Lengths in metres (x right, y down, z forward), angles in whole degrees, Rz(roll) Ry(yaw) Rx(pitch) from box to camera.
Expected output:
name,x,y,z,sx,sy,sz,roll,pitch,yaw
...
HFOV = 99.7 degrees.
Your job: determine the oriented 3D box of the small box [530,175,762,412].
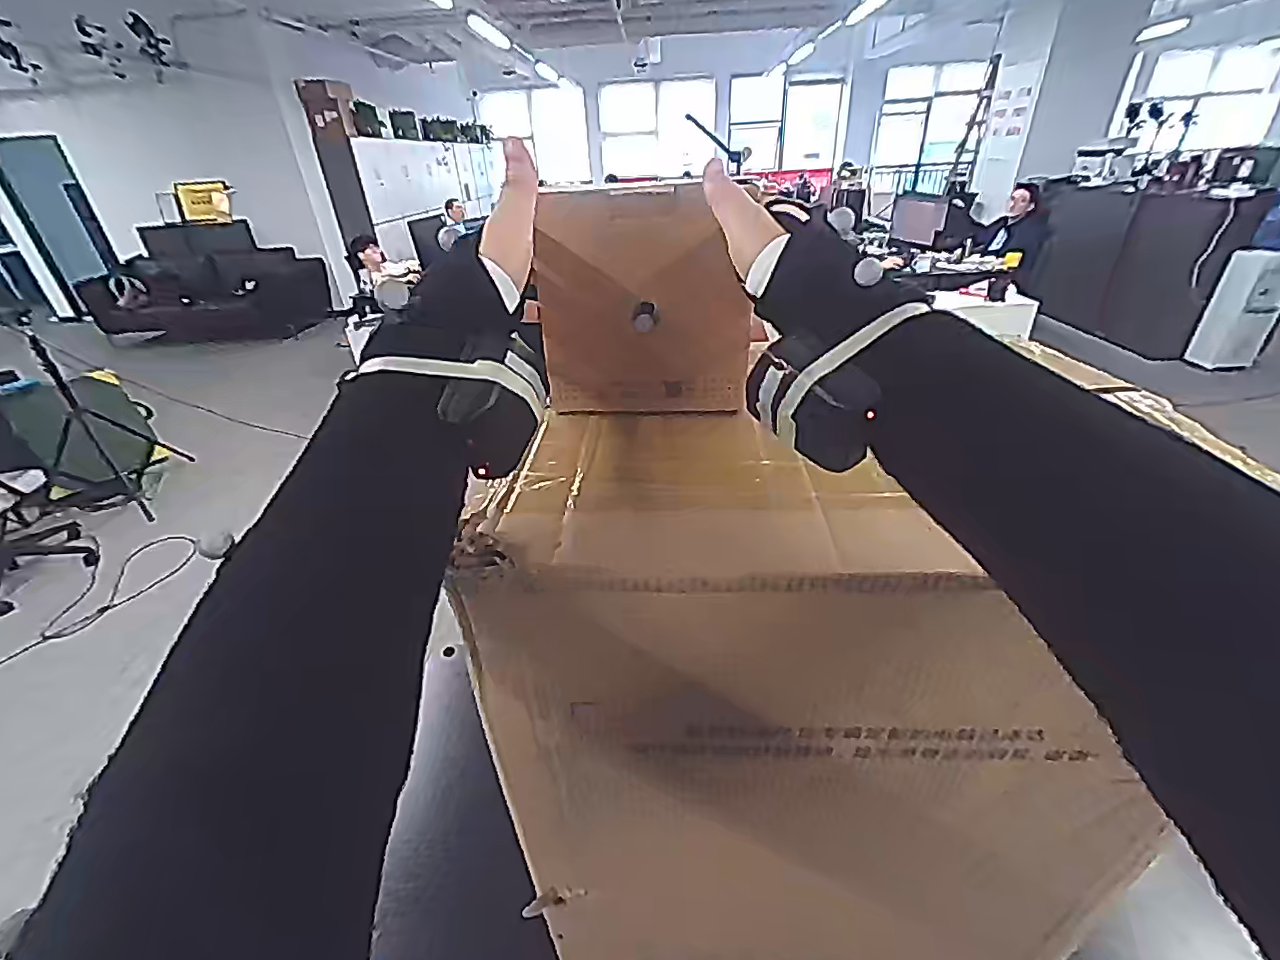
name,x,y,z,sx,sy,sz,roll,pitch,yaw
small box,0.014,-0.167,0.481,0.168,0.176,0.179,0,31,4
